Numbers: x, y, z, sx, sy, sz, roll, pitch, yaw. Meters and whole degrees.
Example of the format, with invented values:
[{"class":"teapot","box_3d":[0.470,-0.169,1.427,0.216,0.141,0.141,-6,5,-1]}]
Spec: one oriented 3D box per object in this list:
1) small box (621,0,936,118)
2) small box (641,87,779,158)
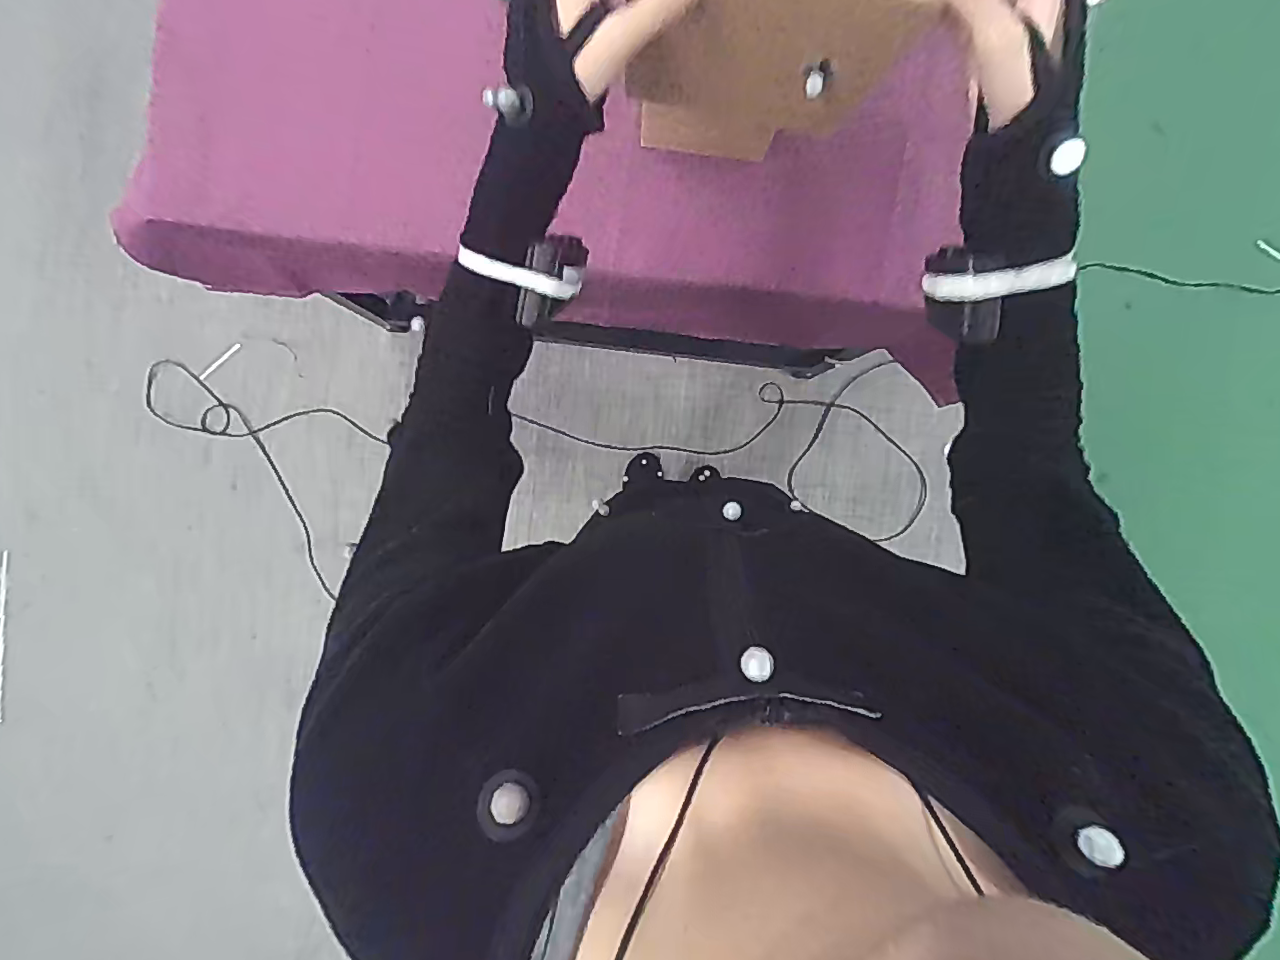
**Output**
[{"class":"small box","box_3d":[0.086,-0.365,0.343,0.179,0.176,0.168,9,100,-4]},{"class":"small box","box_3d":[0.099,-0.540,0.681,0.179,0.176,0.168,7,92,-2]}]
